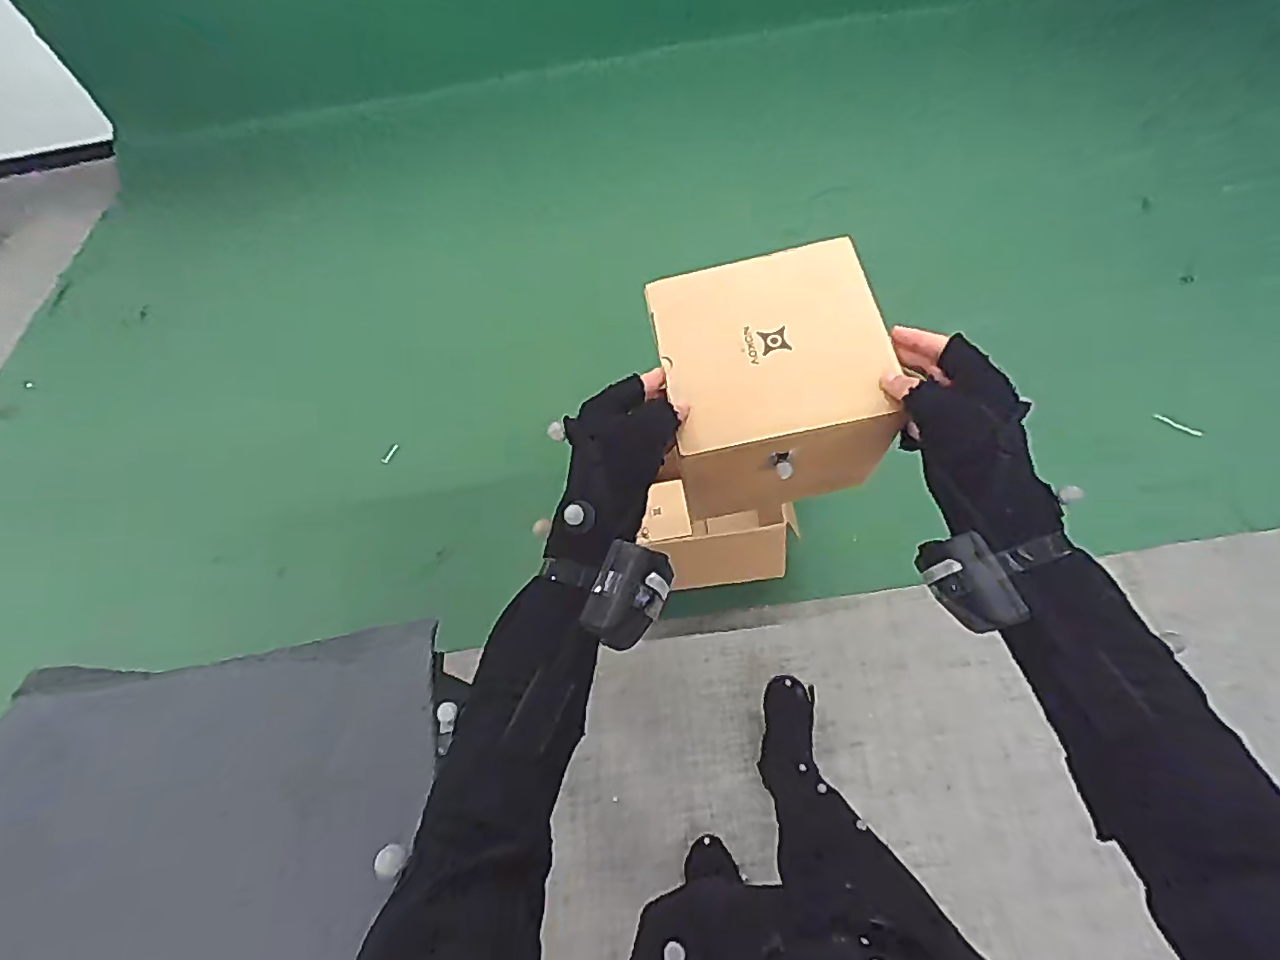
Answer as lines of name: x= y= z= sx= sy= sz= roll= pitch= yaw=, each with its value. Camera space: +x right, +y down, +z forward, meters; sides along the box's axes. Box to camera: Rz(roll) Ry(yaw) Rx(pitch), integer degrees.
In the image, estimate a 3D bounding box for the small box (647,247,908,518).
small box: x=0.113 y=-0.076 z=0.503 sx=0.179 sy=0.176 sz=0.168 roll=-12 pitch=68 yaw=6
